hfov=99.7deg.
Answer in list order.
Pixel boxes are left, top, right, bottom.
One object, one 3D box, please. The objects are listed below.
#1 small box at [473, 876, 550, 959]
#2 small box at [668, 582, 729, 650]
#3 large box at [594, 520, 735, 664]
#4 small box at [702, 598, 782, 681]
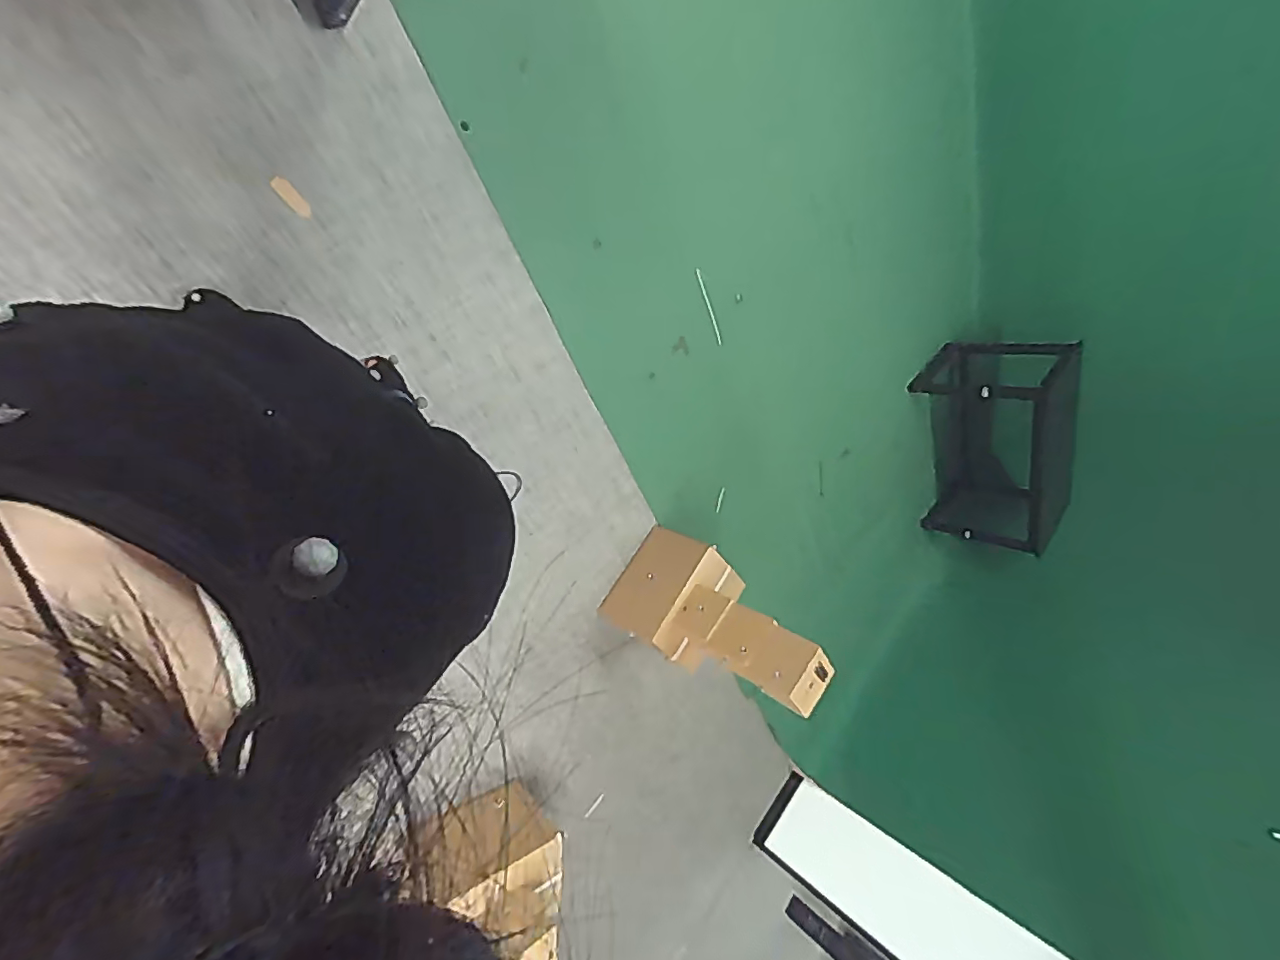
[{"bbox_3d":[-0.382,1.334,1.592,0.179,0.176,0.168,-12,111,-39],"label":"small box"},{"bbox_3d":[0.228,0.481,1.905,0.168,0.176,0.179,-50,129,-19],"label":"small box"},{"bbox_3d":[0.097,0.429,2.110,0.408,0.320,0.320,-56,132,-17],"label":"large box"},{"bbox_3d":[0.335,0.521,1.790,0.179,0.176,0.168,-49,129,-20],"label":"small box"}]
